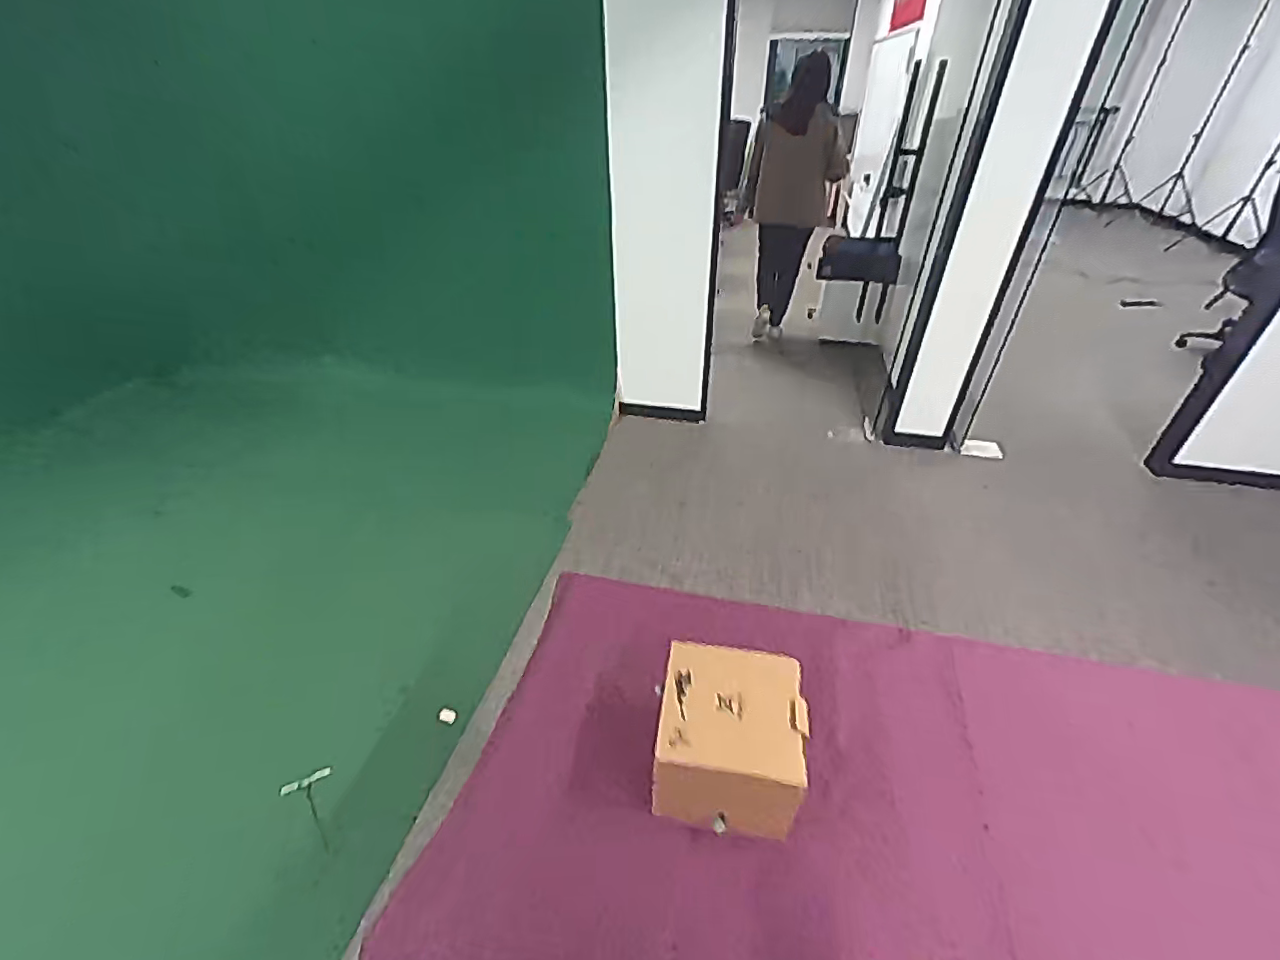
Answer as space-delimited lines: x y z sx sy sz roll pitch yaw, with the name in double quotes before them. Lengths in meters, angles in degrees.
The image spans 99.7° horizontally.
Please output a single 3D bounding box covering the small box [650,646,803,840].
"small box" 0.113 0.354 0.727 0.179 0.176 0.168 6 38 9
